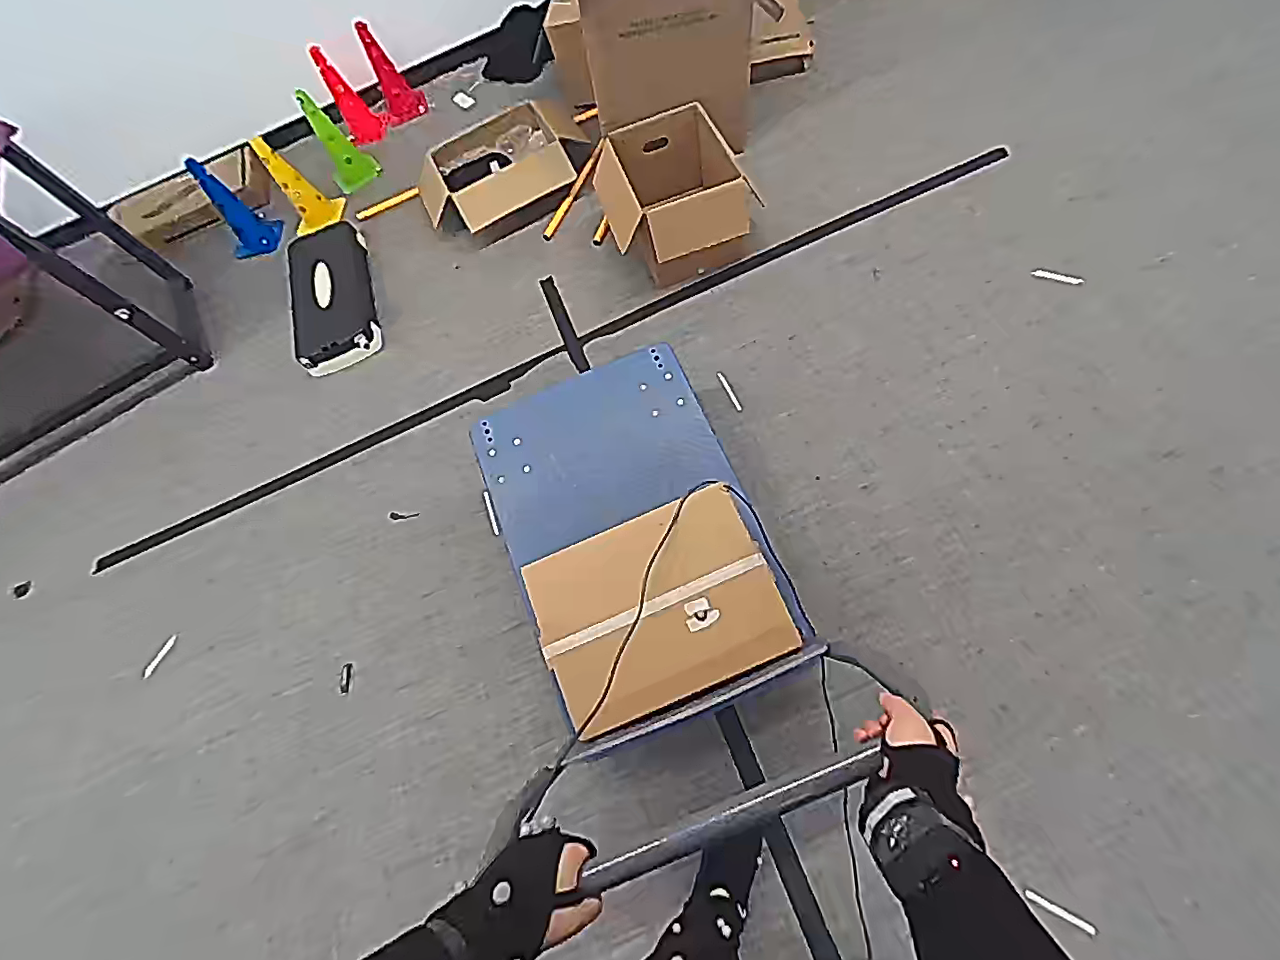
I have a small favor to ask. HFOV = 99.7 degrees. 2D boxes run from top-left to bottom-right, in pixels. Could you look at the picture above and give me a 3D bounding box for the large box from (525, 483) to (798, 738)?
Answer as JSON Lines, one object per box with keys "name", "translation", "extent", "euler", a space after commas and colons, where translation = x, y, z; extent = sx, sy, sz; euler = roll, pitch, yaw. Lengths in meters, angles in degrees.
{"name": "large box", "translation": [0.043, 0.262, 1.084], "extent": [0.408, 0.320, 0.320], "euler": [-24, 72, -1]}
